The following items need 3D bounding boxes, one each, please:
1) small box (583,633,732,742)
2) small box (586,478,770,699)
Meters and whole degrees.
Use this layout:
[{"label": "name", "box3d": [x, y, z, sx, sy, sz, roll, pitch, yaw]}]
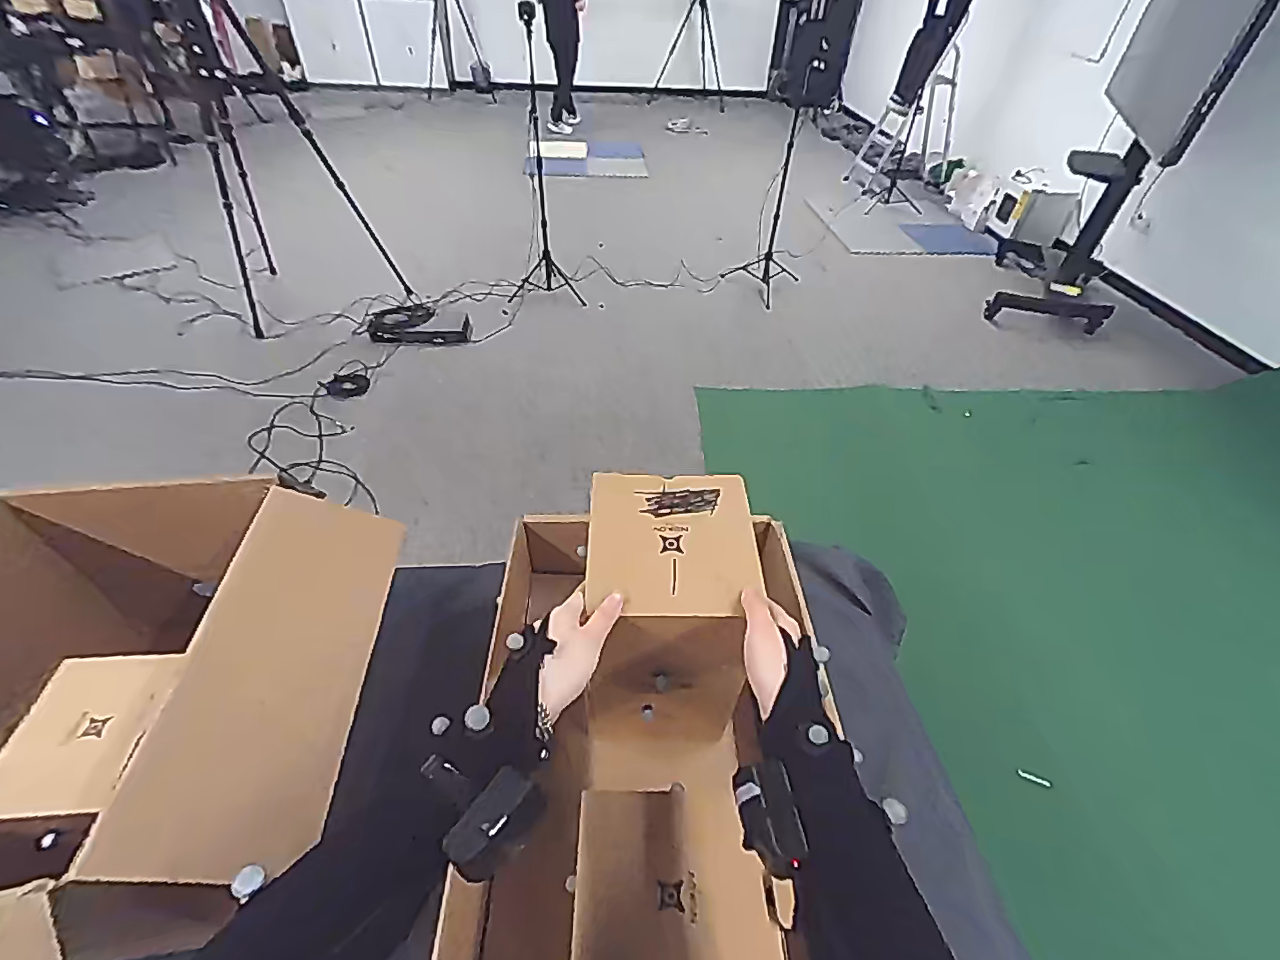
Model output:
[{"label": "small box", "box3d": [0.024, 0.230, 0.707, 0.179, 0.176, 0.168, 0, 46, -1]}, {"label": "small box", "box3d": [0.030, 0.117, 0.587, 0.168, 0.176, 0.179, 0, 47, -2]}]
